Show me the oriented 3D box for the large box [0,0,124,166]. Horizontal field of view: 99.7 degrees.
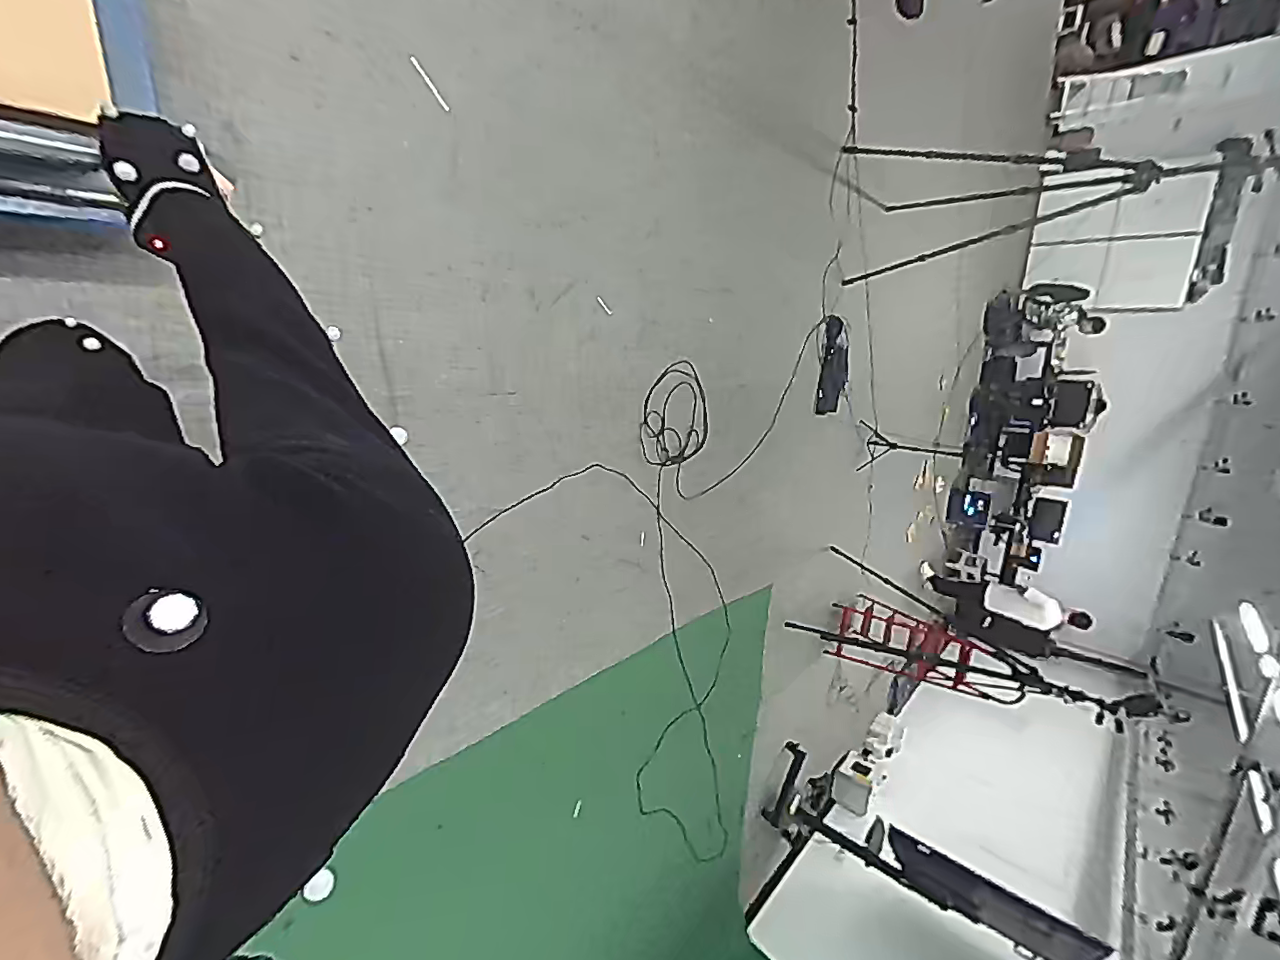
[{"bbox_3d":[-0.959,-0.697,0.722,0.320,0.320,0.408,-16,111,-46],"label":"large box"}]
